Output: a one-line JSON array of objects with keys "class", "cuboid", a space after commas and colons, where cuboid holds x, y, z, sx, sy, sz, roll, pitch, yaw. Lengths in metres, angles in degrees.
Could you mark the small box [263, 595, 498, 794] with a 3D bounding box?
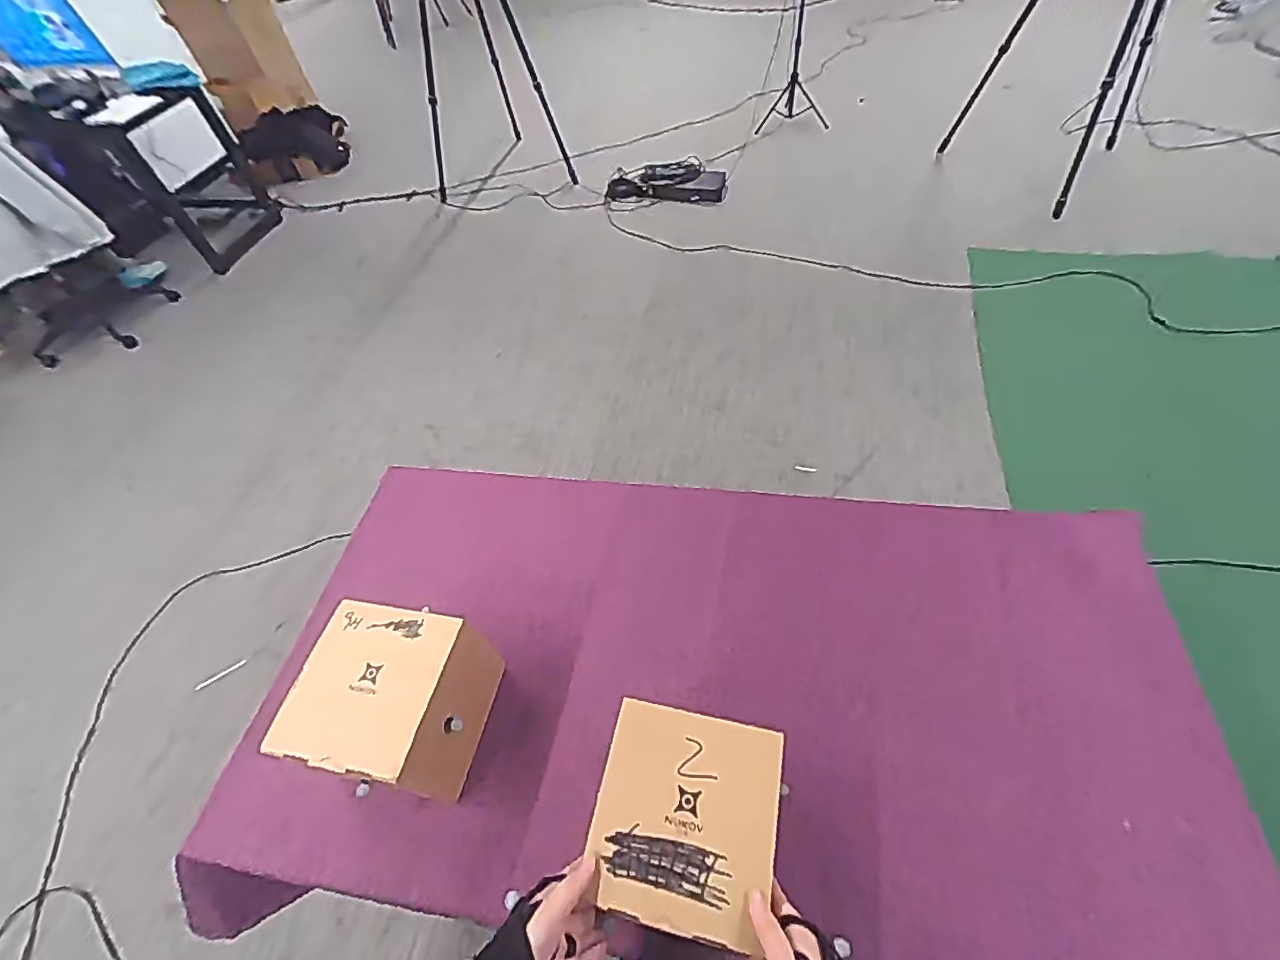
[{"class": "small box", "cuboid": [-0.295, 0.267, 0.664, 0.168, 0.176, 0.179, 8, 55, 11]}]
